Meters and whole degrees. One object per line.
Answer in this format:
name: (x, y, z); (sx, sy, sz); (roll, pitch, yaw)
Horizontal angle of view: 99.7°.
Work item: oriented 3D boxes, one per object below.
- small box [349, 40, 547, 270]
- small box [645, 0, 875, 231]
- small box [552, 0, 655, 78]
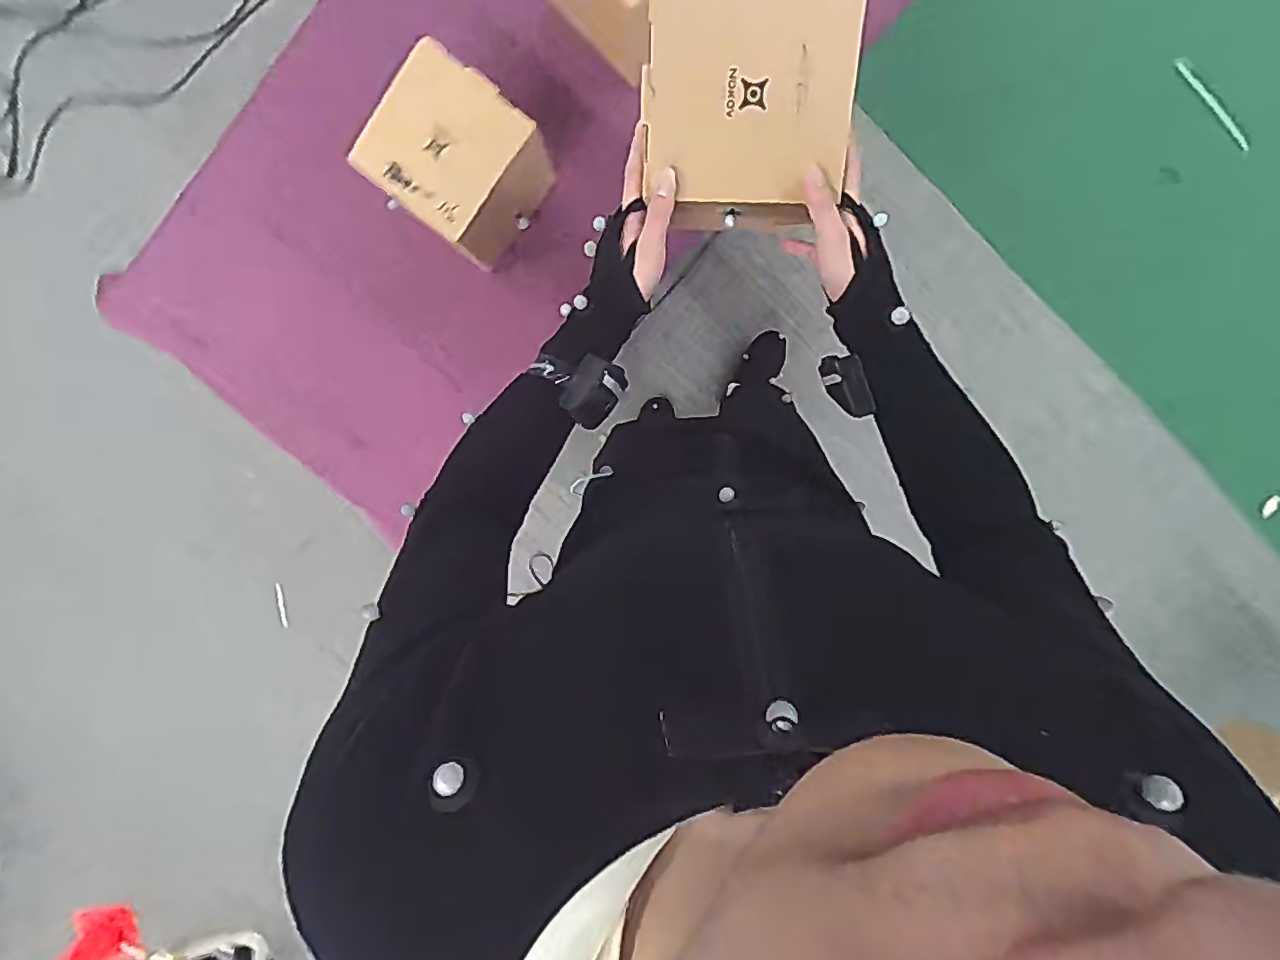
small box: (-0.245, -0.424, 0.741); (0.168, 0.176, 0.179); (37, 97, -5)
small box: (0.102, -0.346, 0.528); (0.179, 0.176, 0.168); (4, 107, 3)
small box: (-0.020, -0.684, 0.701); (0.179, 0.176, 0.168); (43, 97, -6)
